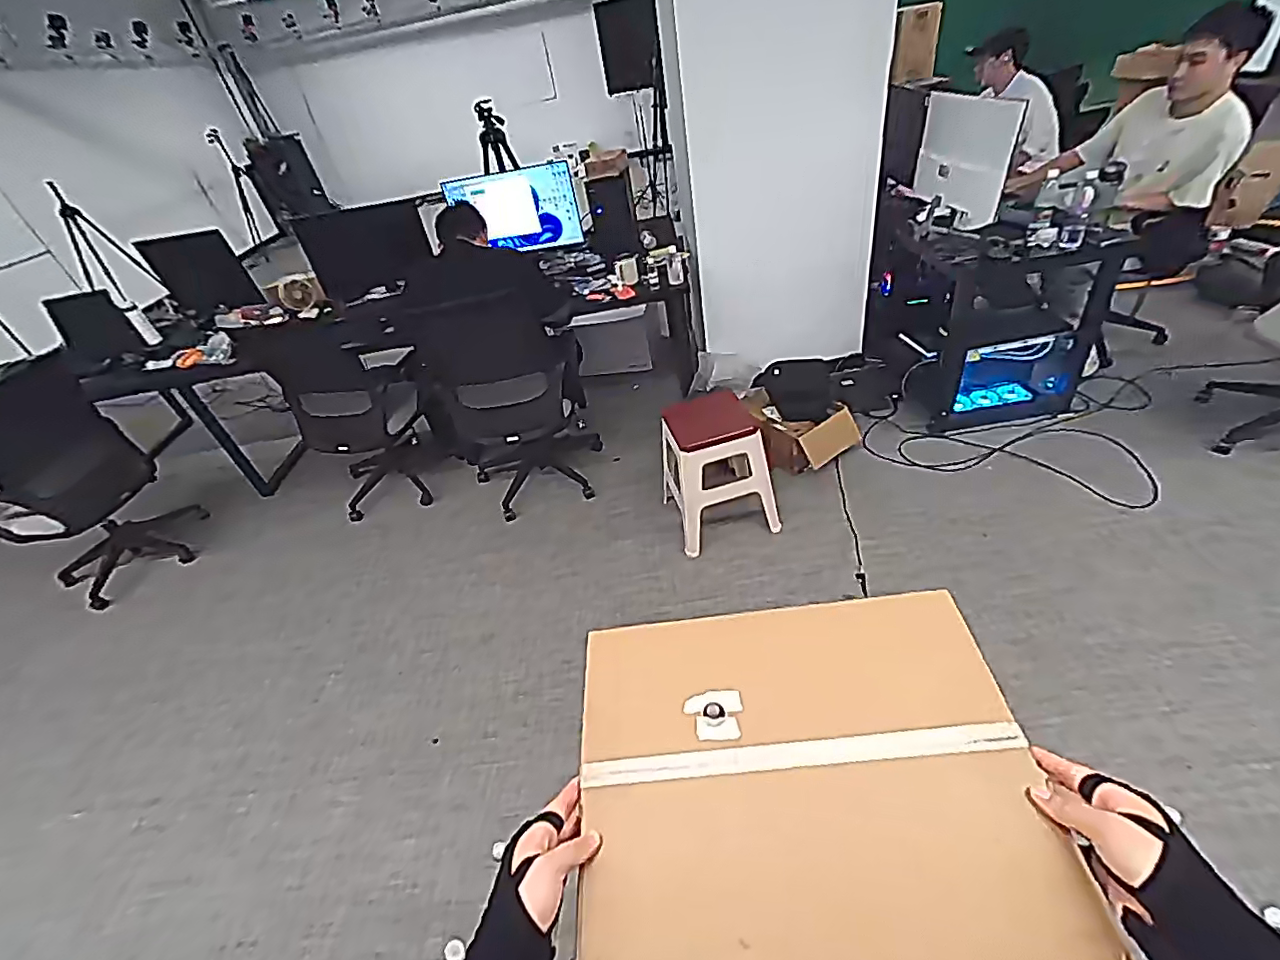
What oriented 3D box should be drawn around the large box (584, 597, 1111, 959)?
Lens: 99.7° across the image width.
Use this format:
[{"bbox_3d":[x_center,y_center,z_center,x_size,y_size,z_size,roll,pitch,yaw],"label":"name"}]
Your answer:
[{"bbox_3d":[0.173,0.373,0.617,0.408,0.320,0.320,-10,43,7],"label":"large box"}]
